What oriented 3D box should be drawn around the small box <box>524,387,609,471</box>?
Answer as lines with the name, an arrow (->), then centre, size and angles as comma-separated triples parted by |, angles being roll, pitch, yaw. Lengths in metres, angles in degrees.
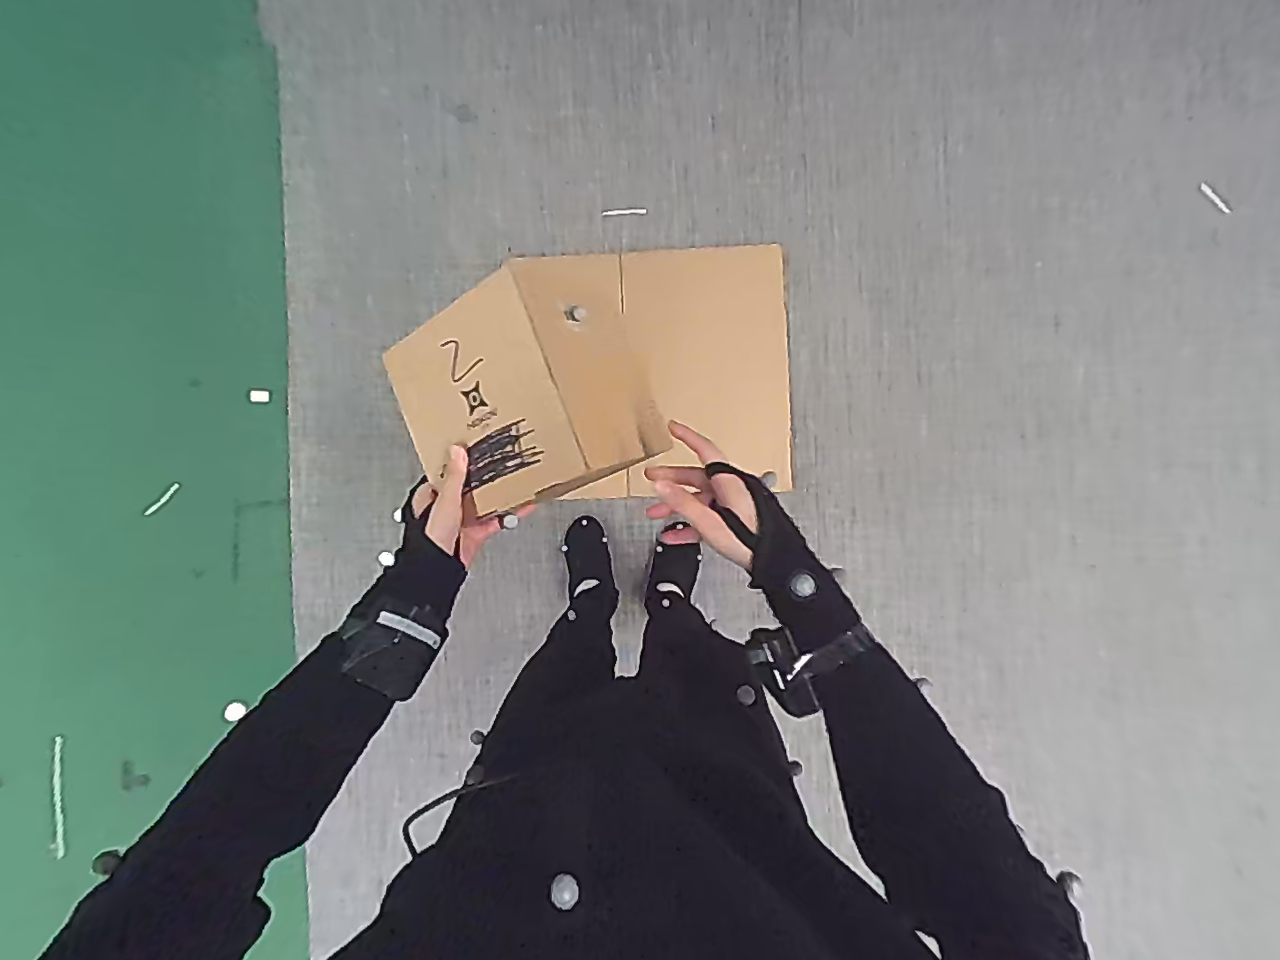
small box -> -0.165, -0.111, 1.257 | 0.168, 0.176, 0.179 | -4, 89, 2
